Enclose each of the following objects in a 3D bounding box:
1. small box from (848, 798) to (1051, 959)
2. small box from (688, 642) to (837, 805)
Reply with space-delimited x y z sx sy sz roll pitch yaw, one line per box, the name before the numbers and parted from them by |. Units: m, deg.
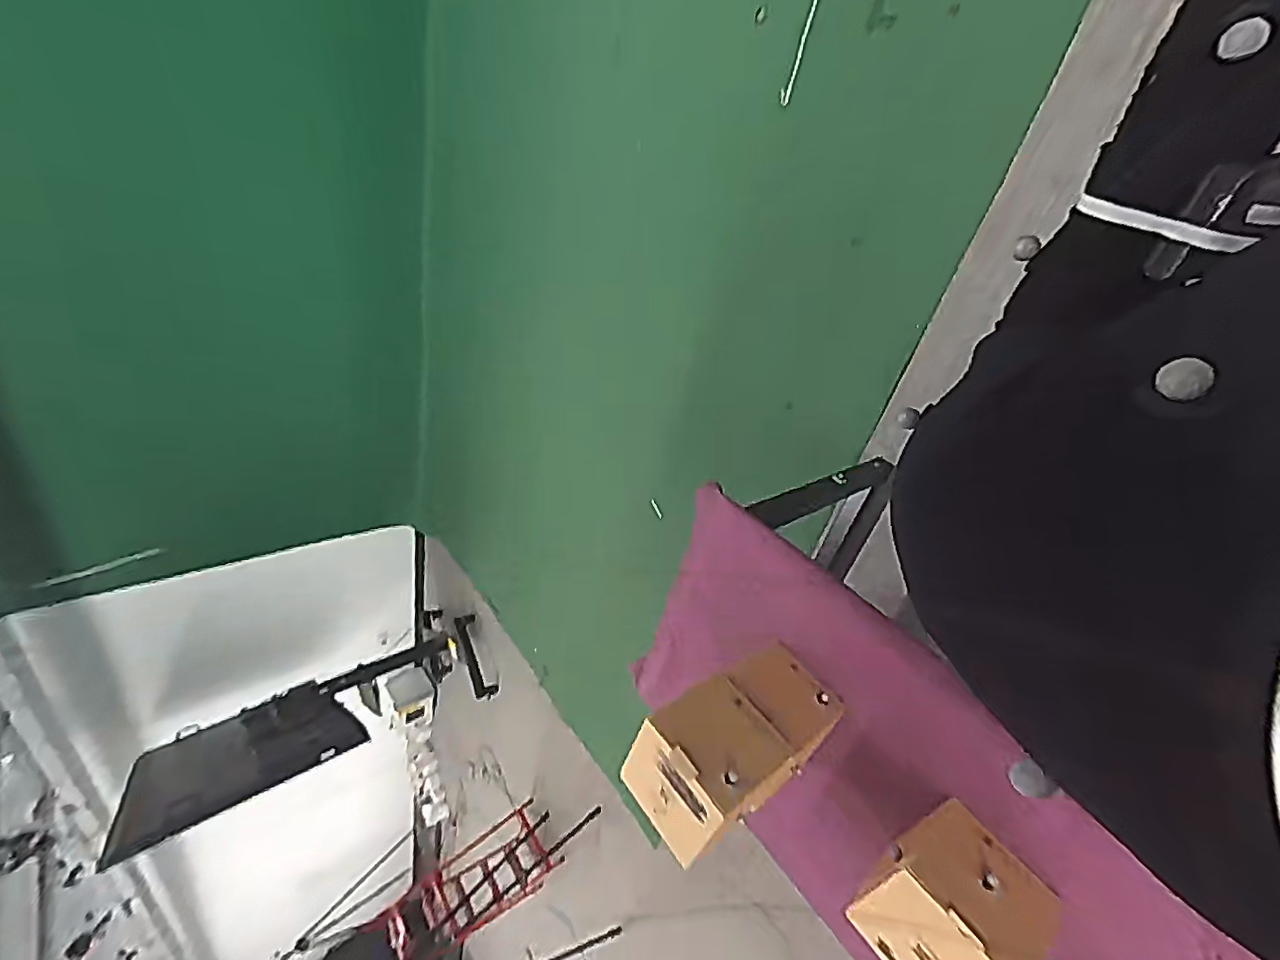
small box | 0.439 0.598 0.767 0.168 0.176 0.179 43 130 32
small box | 0.220 0.422 0.962 0.168 0.176 0.179 45 132 33
